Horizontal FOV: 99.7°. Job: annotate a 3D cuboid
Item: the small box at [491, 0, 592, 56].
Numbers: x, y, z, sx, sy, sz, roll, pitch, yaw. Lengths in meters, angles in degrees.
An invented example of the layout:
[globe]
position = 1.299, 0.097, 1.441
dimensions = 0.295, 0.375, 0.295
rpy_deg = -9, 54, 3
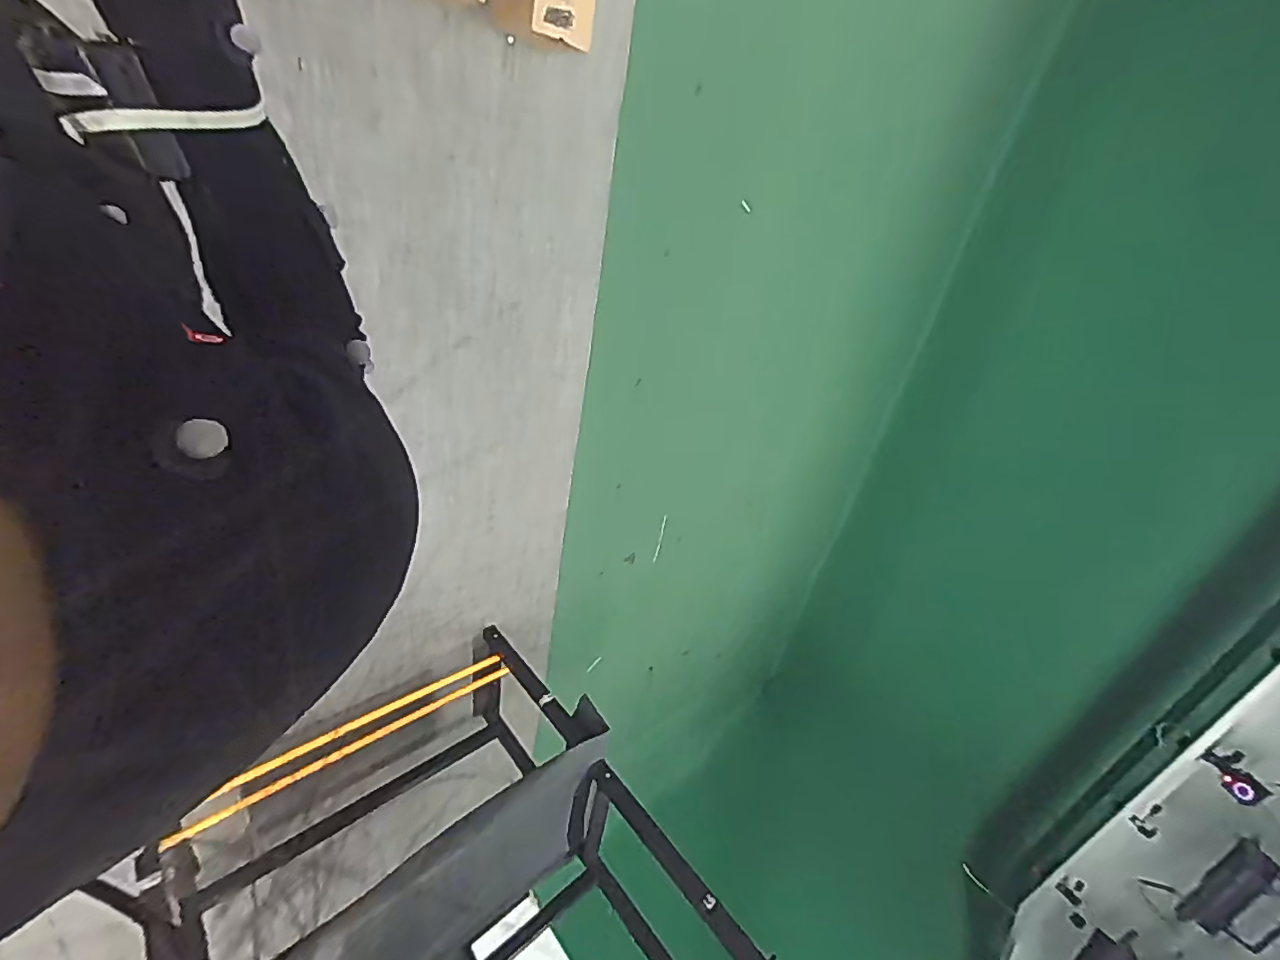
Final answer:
[small box]
position = -0.228, -1.110, 1.244
dimensions = 0.168, 0.176, 0.179
rpy_deg = -15, 128, -43
